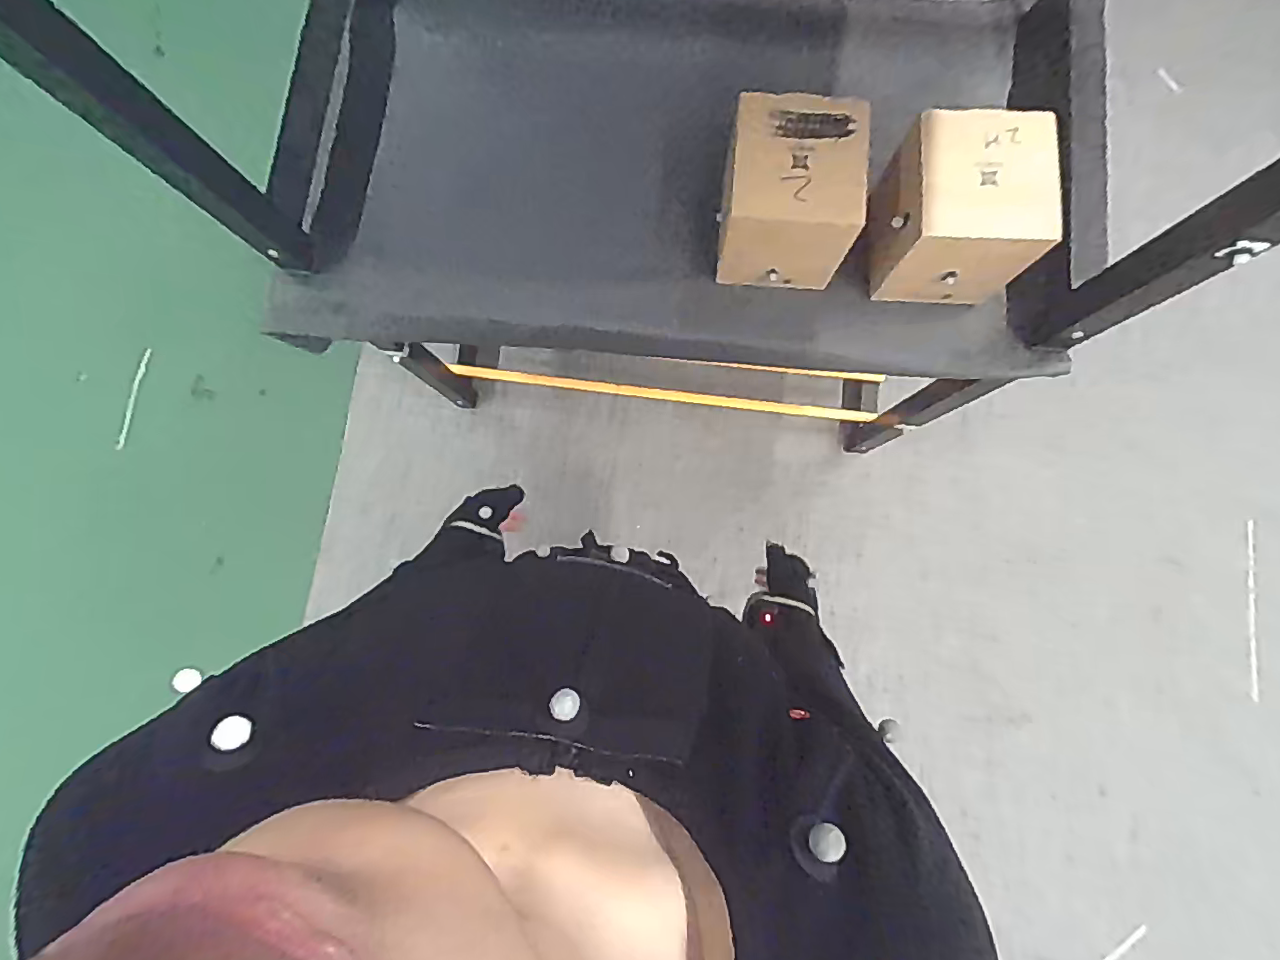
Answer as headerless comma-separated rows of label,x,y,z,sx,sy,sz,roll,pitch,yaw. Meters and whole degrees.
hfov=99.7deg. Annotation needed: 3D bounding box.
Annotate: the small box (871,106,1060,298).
small box,0.432,-0.368,0.742,0.168,0.176,0.179,3,82,2
